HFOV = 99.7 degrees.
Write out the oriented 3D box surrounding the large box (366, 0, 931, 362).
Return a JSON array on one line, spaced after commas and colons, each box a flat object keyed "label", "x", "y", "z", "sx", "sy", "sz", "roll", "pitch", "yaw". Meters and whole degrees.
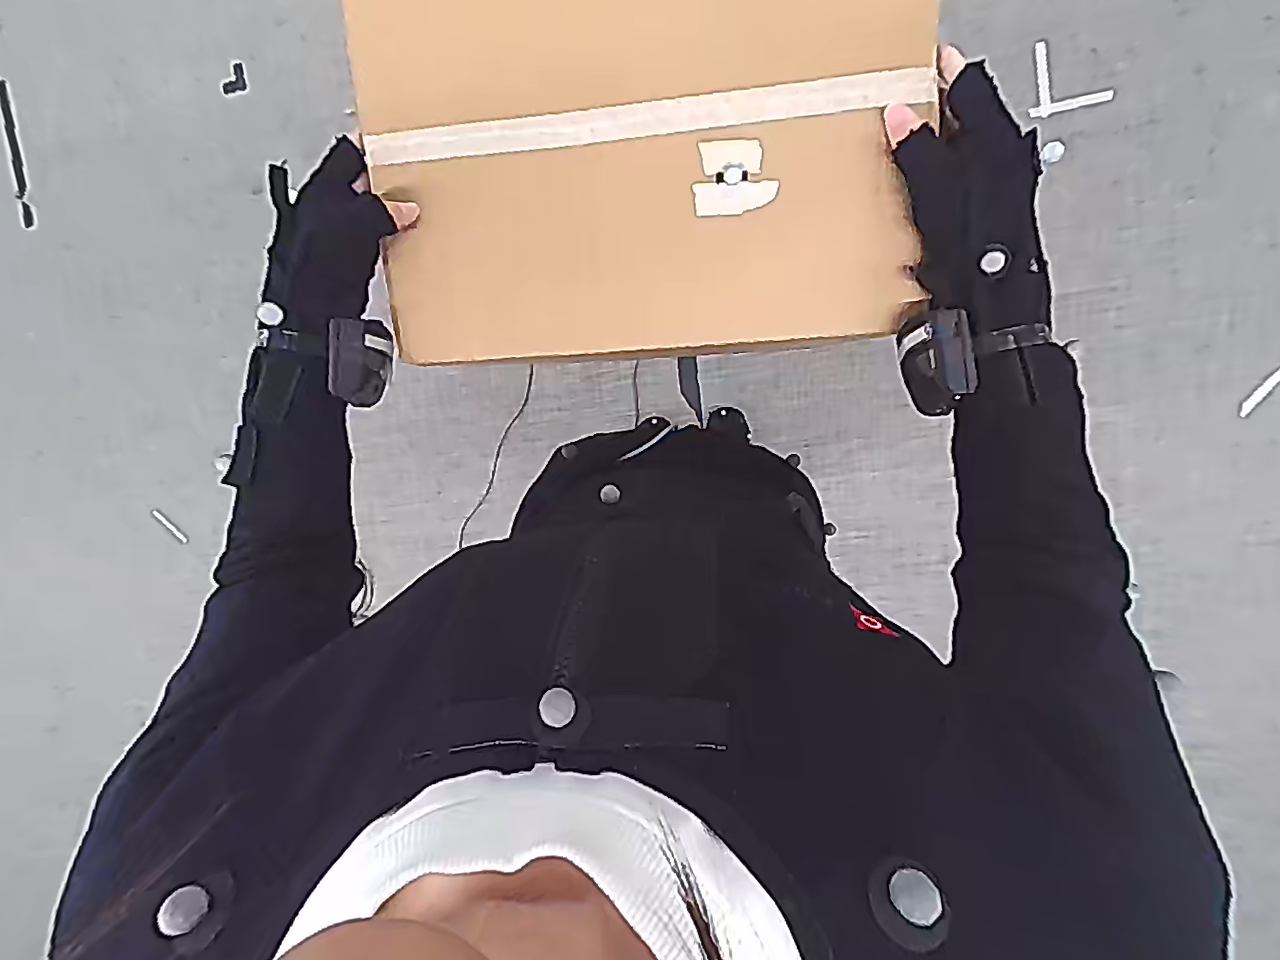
[{"label": "large box", "x": 0.015, "y": -0.292, "z": 0.540, "sx": 0.408, "sy": 0.320, "sz": 0.320, "roll": -3, "pitch": 102, "yaw": 6}]
